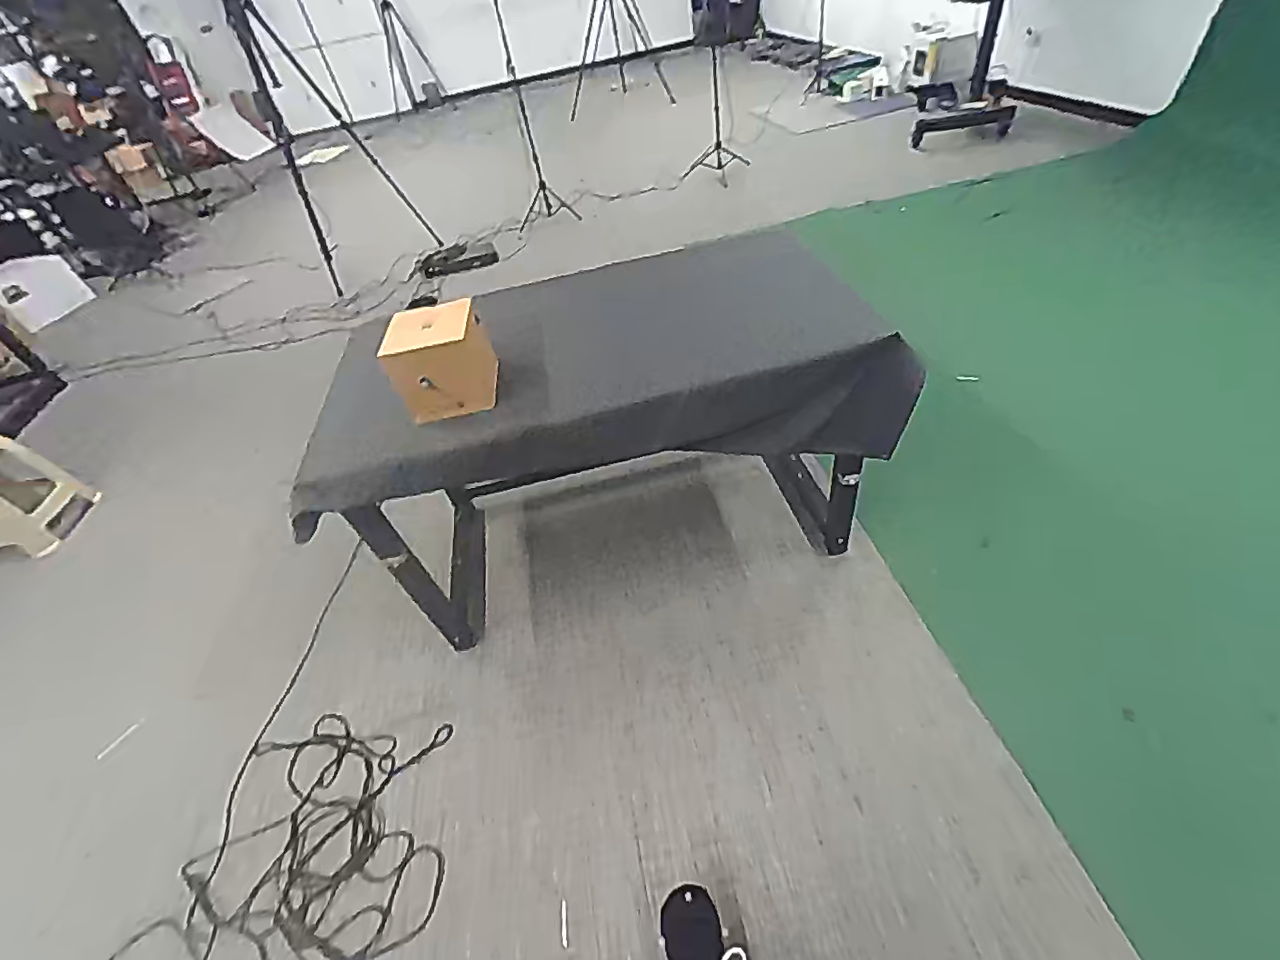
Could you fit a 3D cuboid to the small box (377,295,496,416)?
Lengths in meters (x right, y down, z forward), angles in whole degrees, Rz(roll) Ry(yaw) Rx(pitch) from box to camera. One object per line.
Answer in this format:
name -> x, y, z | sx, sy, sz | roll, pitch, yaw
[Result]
small box -> -0.401, -0.246, 1.099 | 0.168, 0.176, 0.179 | -12, 43, 0
